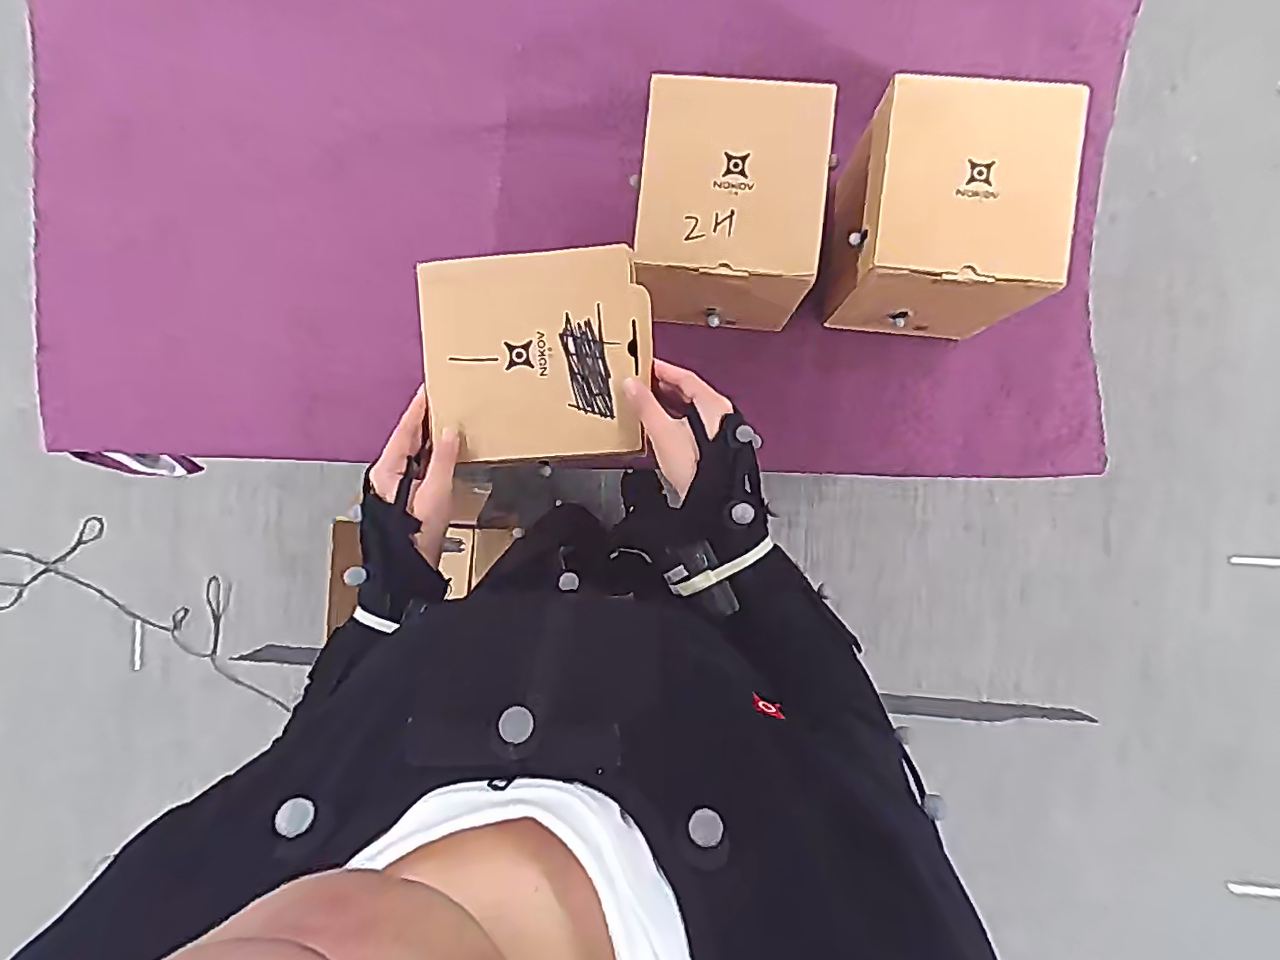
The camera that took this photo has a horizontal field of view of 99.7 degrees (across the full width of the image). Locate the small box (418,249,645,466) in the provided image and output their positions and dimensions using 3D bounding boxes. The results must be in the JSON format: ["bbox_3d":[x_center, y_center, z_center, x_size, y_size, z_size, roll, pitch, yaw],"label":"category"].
[{"bbox_3d":[-0.085,-0.101,0.513,0.179,0.176,0.168,-4,91,3],"label":"small box"}]

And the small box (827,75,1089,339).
[{"bbox_3d":[0.299,-0.258,0.546,0.168,0.176,0.179,6,90,4],"label":"small box"}]

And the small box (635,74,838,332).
[{"bbox_3d":[0.089,-0.269,0.560,0.168,0.176,0.179,6,90,4],"label":"small box"}]
